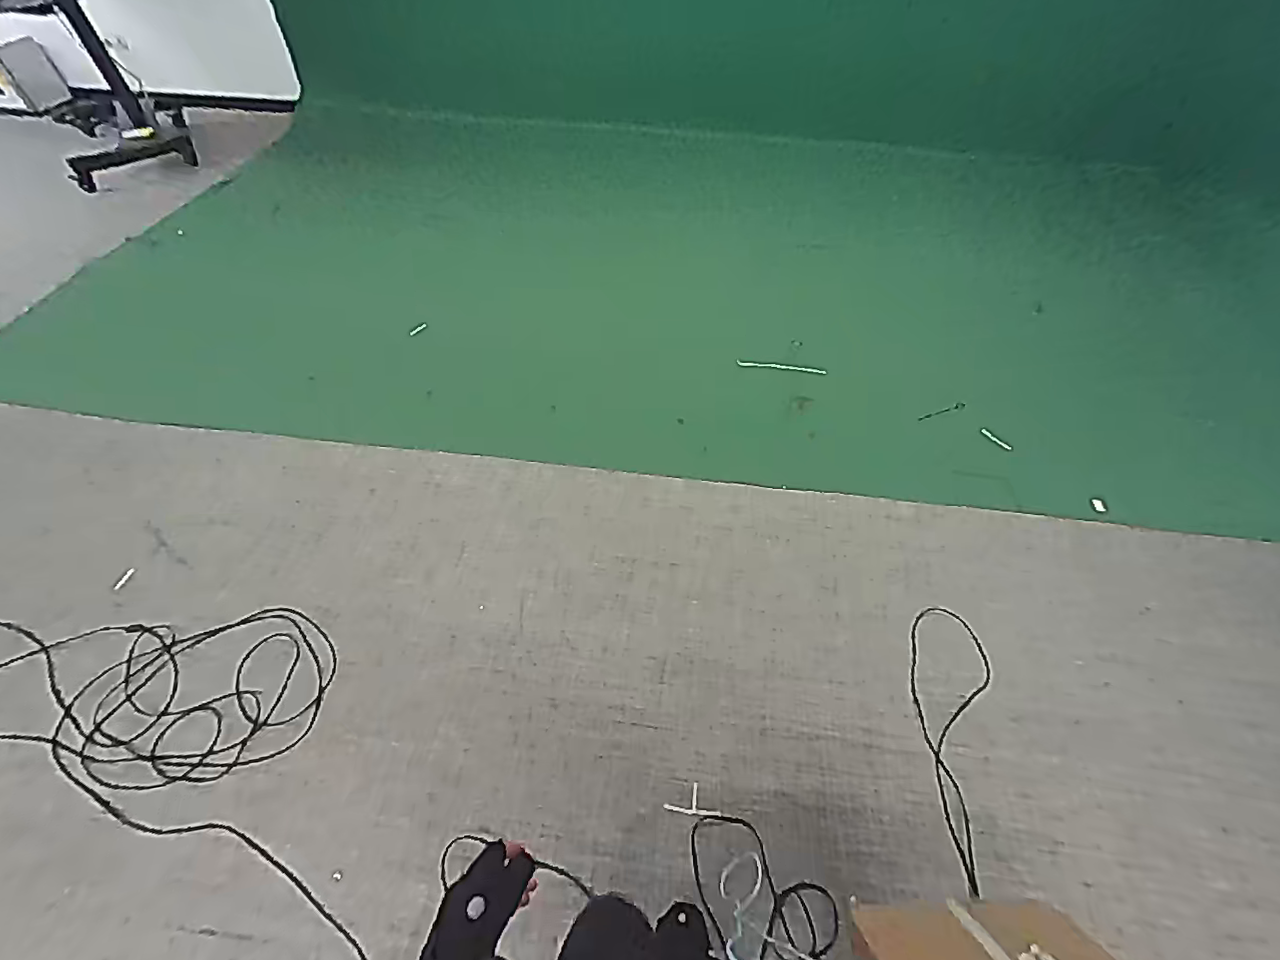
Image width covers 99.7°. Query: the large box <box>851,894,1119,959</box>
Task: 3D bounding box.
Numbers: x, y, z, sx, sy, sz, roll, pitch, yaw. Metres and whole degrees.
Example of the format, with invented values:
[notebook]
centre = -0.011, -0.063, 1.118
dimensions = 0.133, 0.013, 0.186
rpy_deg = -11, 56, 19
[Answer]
[large box]
centre = 0.487, 0.777, 0.622
dimensions = 0.320, 0.408, 0.320
rpy_deg = -1, 83, -1
